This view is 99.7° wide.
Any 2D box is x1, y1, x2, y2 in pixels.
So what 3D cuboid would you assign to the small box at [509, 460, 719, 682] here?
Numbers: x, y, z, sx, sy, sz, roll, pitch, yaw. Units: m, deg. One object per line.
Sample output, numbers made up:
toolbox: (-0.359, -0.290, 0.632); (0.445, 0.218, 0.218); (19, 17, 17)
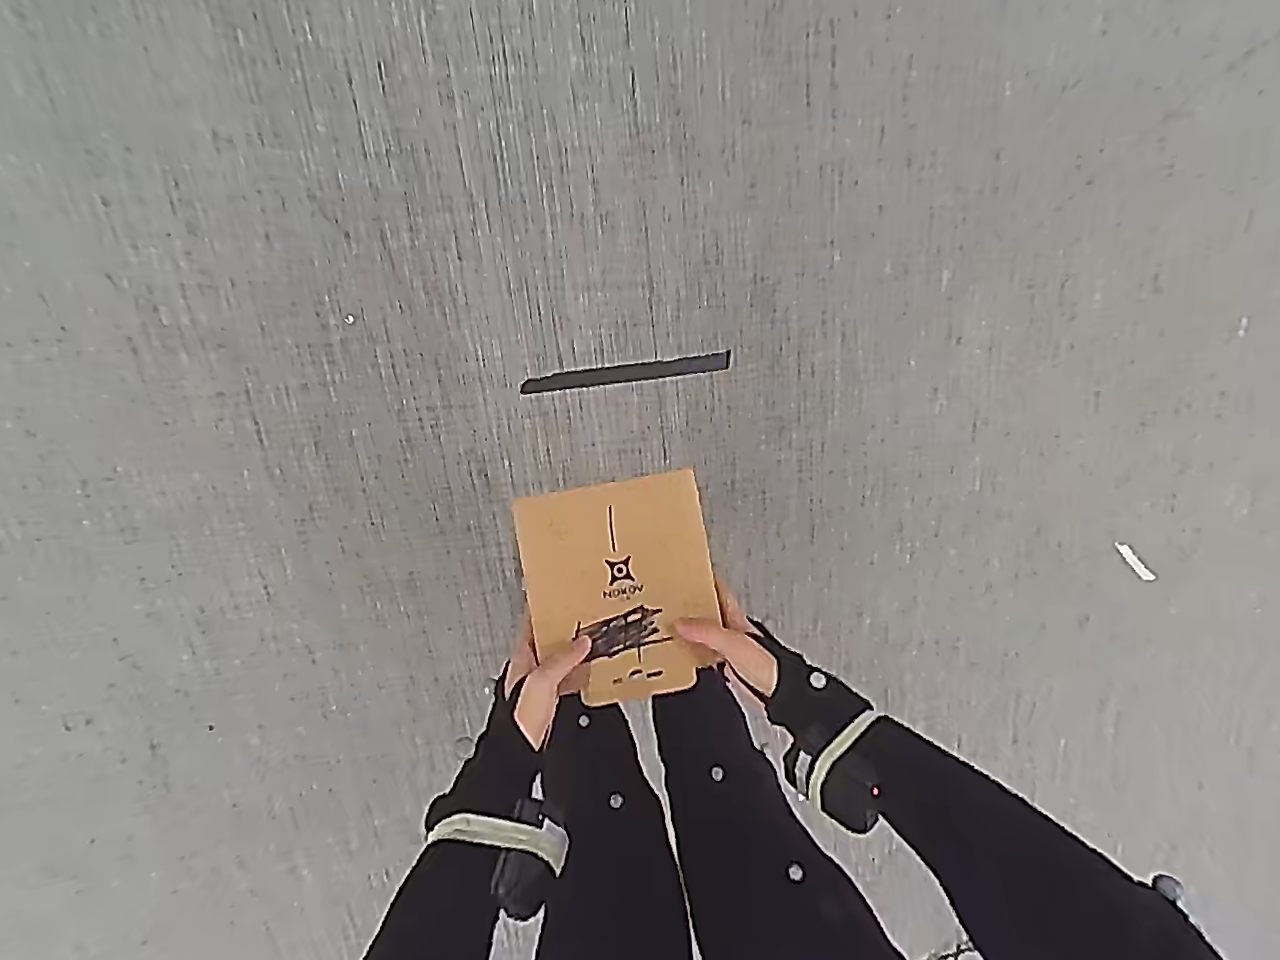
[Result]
small box: (-0.027, 0.082, 0.560); (0.168, 0.176, 0.179); (-11, 88, -4)
